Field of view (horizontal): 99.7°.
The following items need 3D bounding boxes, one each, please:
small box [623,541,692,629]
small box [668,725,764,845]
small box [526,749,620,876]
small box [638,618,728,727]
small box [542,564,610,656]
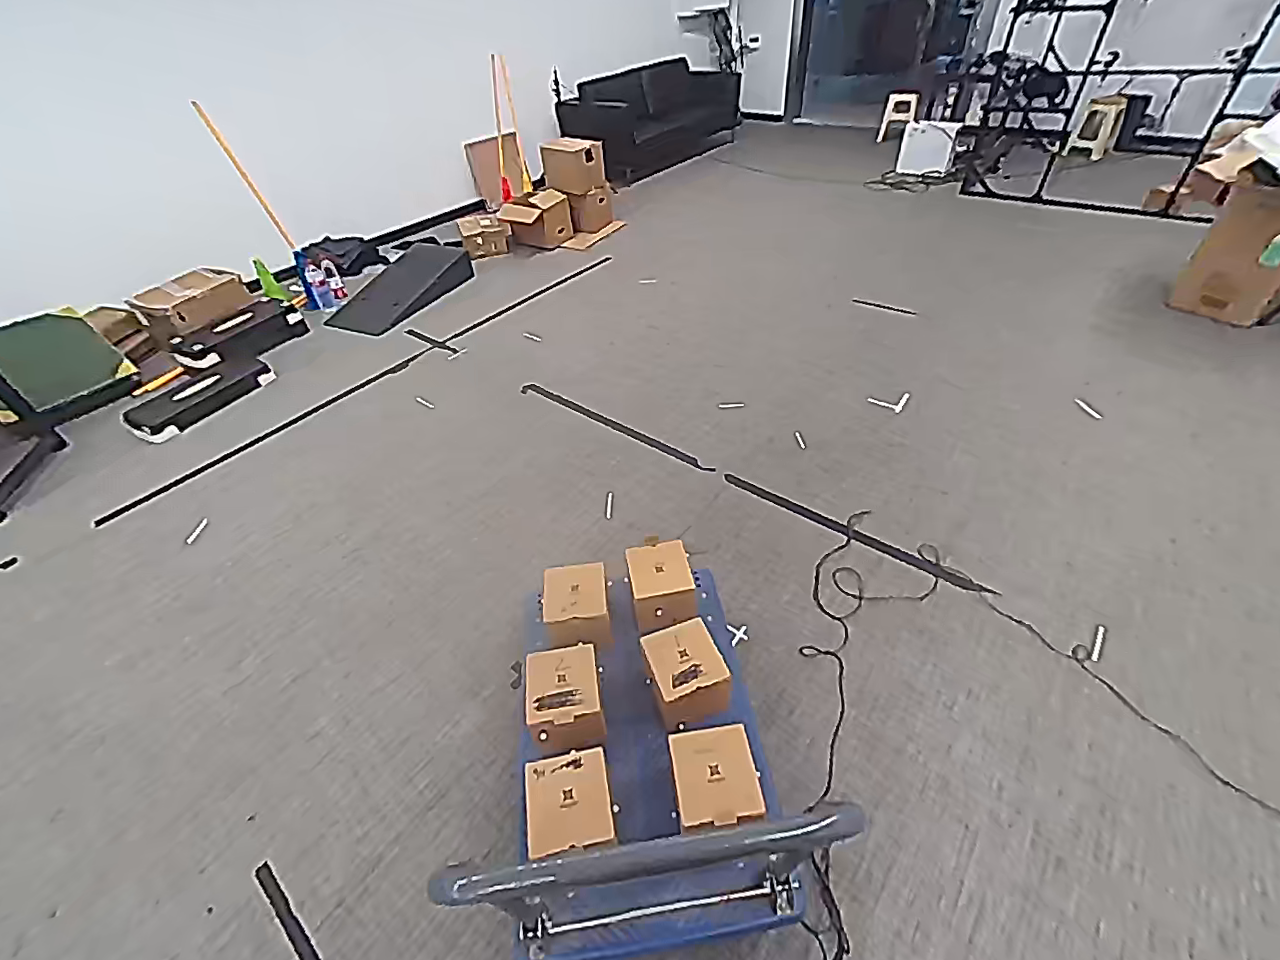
[{"bbox_3d":[0.051,0.304,1.536,0.168,0.176,0.179,-10,43,-6],"label":"small box"},{"bbox_3d":[0.155,0.653,1.150,0.168,0.176,0.179,-7,42,-4],"label":"small box"},{"bbox_3d":[-0.139,0.696,1.125,0.168,0.176,0.179,-9,43,-7],"label":"small box"},{"bbox_3d":[0.106,0.482,1.337,0.168,0.176,0.179,-17,43,-13],"label":"small box"},{"bbox_3d":[-0.174,0.359,1.492,0.168,0.176,0.179,-7,44,-2],"label":"small box"}]
